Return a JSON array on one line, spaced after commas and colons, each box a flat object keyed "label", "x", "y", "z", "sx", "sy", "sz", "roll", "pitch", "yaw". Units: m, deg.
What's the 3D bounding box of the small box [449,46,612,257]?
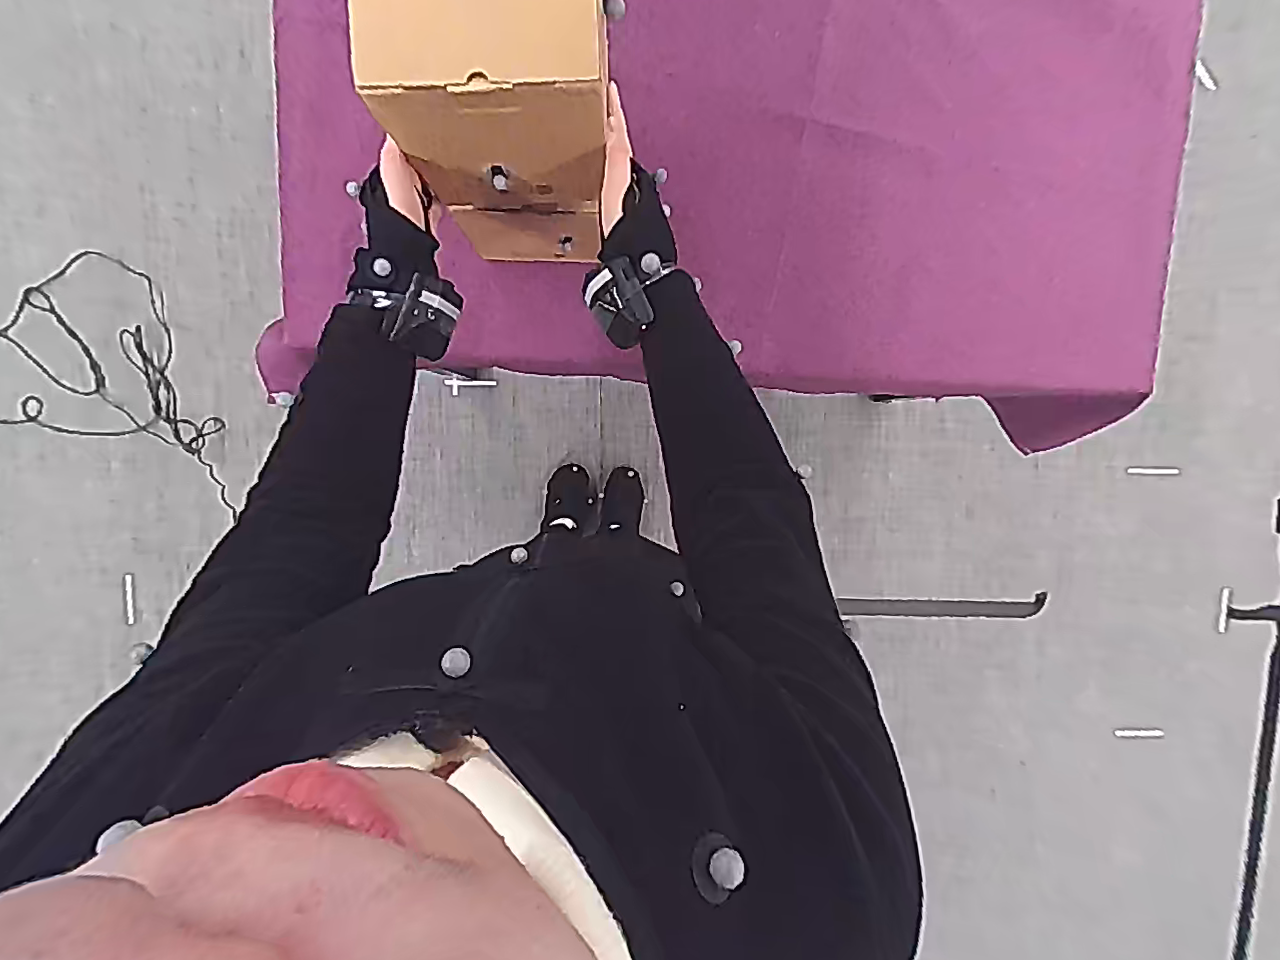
[{"label": "small box", "x": -0.118, "y": -0.375, "z": 0.634, "sx": 0.168, "sy": 0.176, "sz": 0.179, "roll": 1, "pitch": 95, "yaw": -4}]

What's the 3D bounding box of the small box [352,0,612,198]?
[{"label": "small box", "x": -0.108, "y": -0.352, "z": 0.431, "sx": 0.168, "sy": 0.176, "sz": 0.179, "roll": -3, "pitch": 94, "yaw": -1}]
